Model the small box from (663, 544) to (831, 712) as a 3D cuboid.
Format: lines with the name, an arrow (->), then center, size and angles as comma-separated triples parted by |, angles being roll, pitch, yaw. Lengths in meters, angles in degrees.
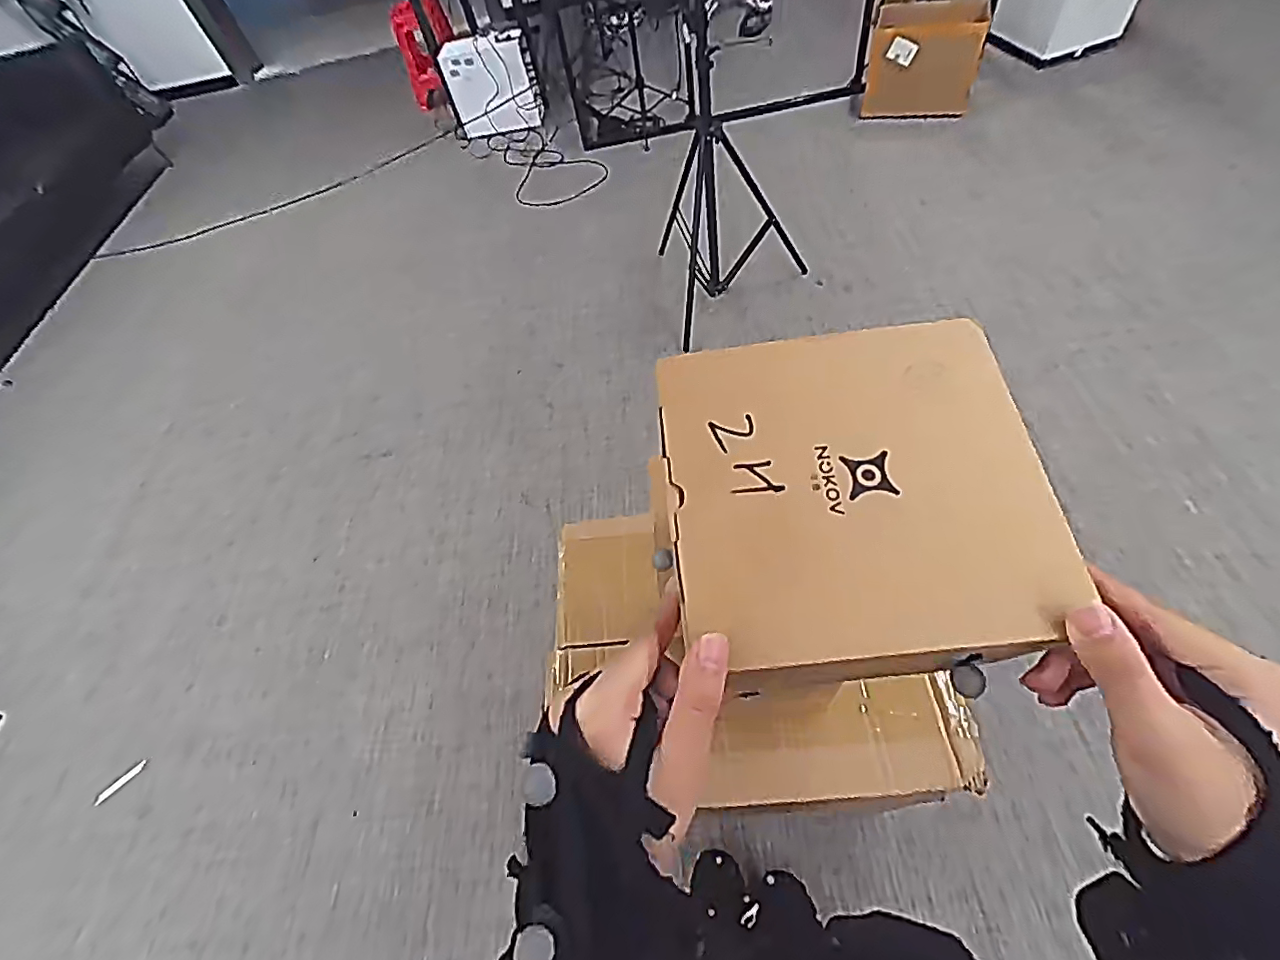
small box -> 0.129, 0.177, 0.657 | 0.179, 0.176, 0.168 | -7, 56, 6

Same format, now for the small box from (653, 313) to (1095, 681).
small box -> 0.105, 0.026, 0.332 | 0.179, 0.176, 0.168 | -7, 65, 4
